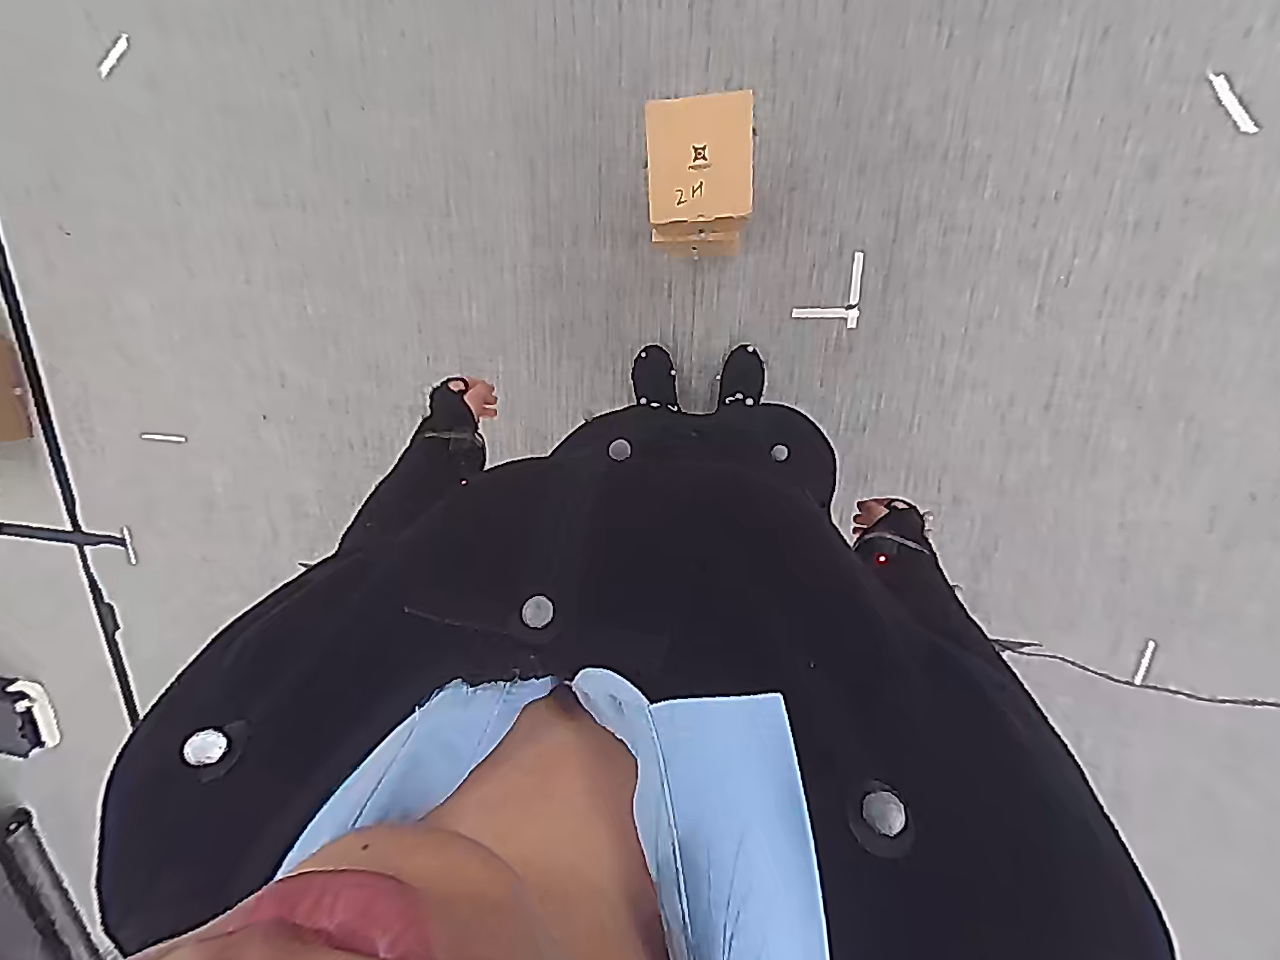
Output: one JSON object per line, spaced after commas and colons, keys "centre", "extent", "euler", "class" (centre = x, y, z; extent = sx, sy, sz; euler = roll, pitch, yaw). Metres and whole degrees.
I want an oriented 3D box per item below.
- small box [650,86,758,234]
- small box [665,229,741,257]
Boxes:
{"centre": [0.108, -0.527, 0.915], "extent": [0.168, 0.176, 0.179], "euler": [-1, 107, 9], "class": "small box"}
{"centre": [0.147, -0.614, 1.231], "extent": [0.168, 0.176, 0.179], "euler": [3, 107, 7], "class": "small box"}
